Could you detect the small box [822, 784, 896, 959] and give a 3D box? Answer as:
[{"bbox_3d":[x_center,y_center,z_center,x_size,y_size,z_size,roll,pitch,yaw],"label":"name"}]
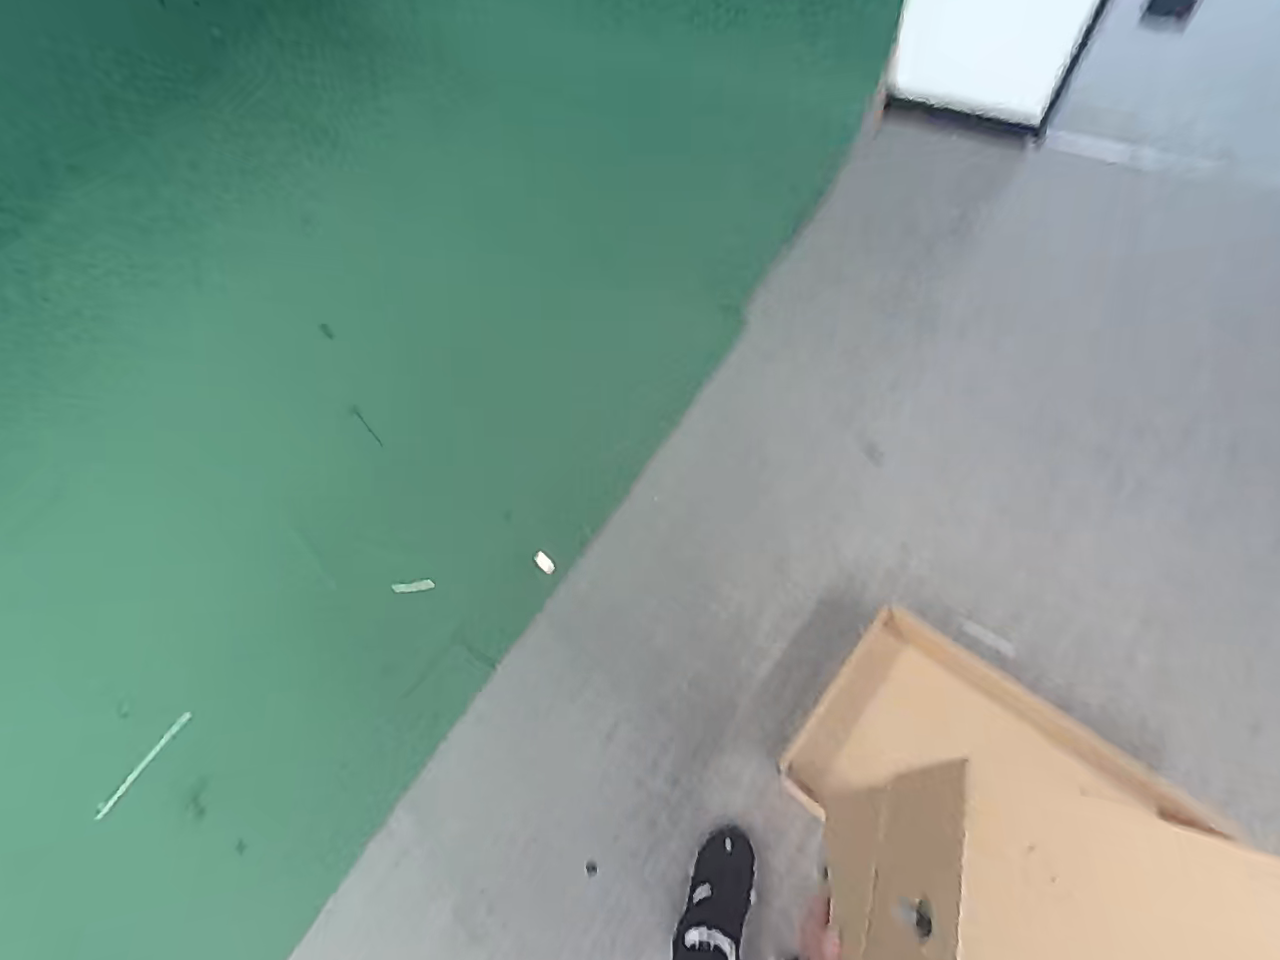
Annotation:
[{"bbox_3d":[0.237,0.351,0.402,0.168,0.176,0.179,12,63,18],"label":"small box"}]
